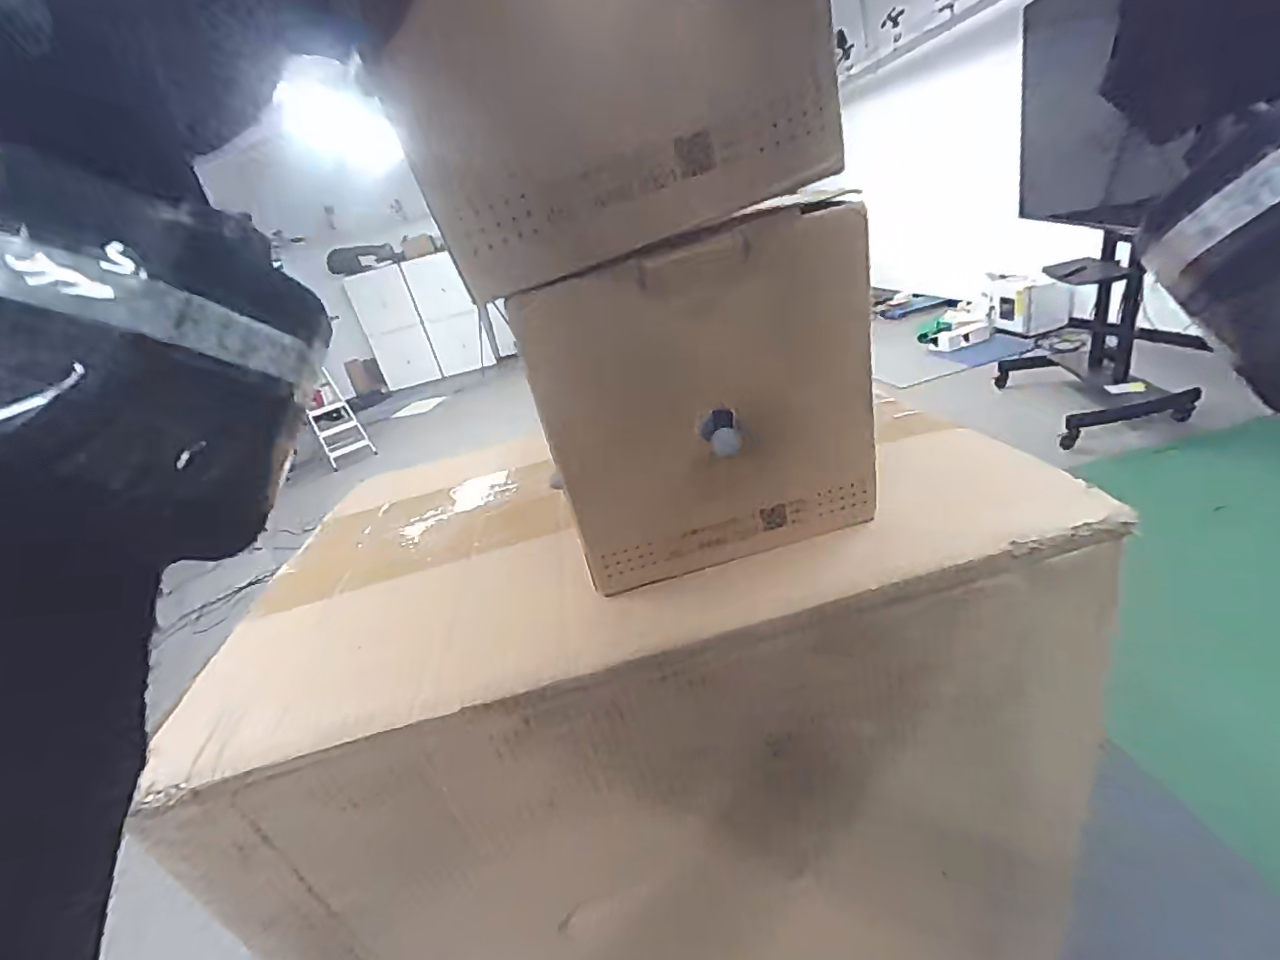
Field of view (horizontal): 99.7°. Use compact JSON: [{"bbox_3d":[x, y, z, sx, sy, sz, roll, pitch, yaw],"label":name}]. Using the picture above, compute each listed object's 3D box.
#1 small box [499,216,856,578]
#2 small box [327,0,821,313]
[{"bbox_3d":[0.022,-0.057,0.345,0.168,0.176,0.179,-15,28,-2],"label":"small box"},{"bbox_3d":[-0.030,-0.195,0.262,0.168,0.176,0.179,-19,28,0],"label":"small box"}]
